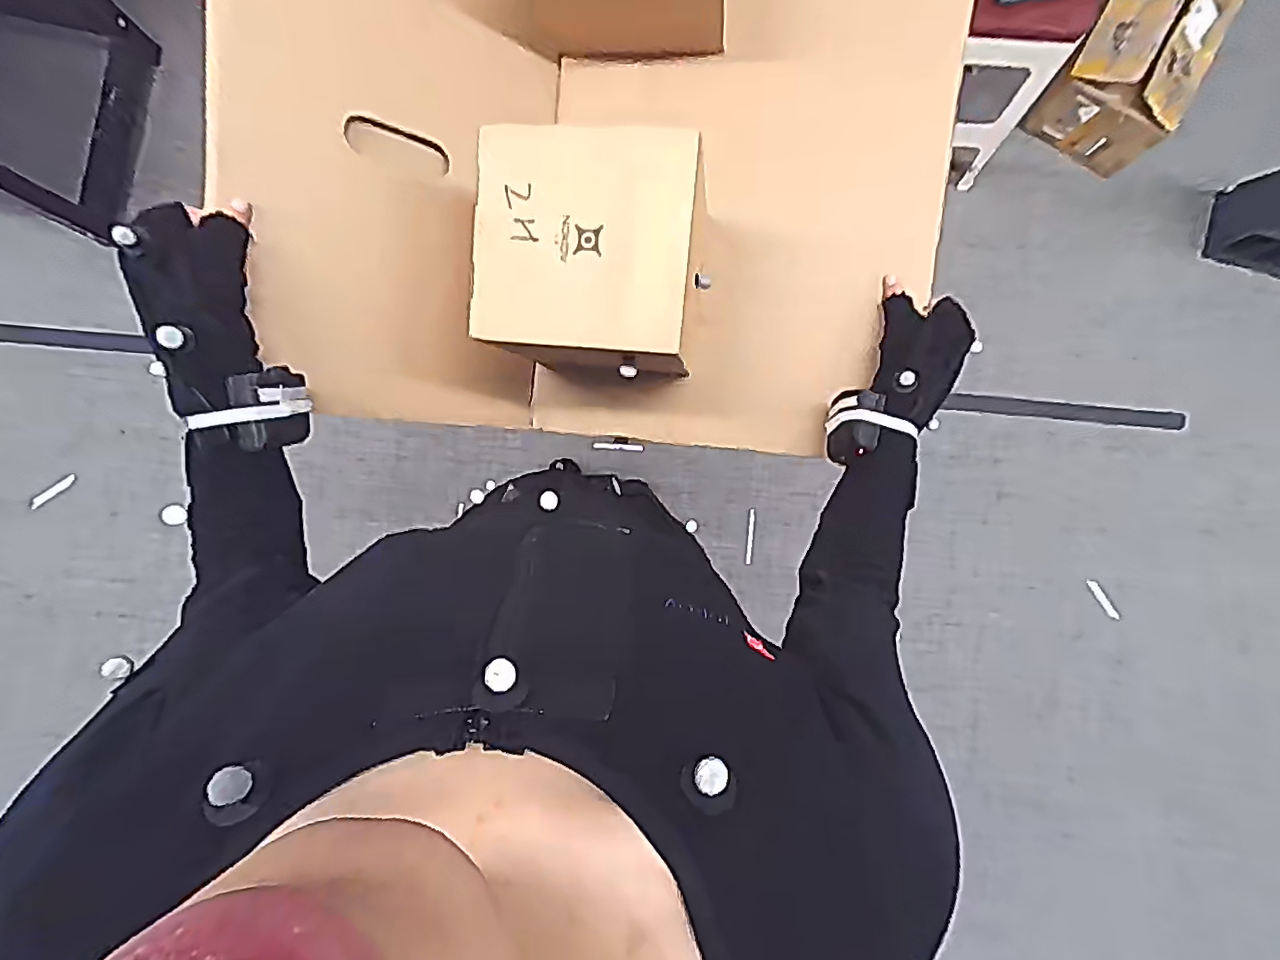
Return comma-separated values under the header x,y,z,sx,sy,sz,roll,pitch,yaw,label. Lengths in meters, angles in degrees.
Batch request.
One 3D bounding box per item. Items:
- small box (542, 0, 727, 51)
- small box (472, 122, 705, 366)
x,y,z,sx,sy,sz,roll,pitch,yaw,label
-0.008,-0.517,0.473,0.179,0.176,0.168,6,96,8,small box
-0.035,-0.203,0.508,0.179,0.176,0.168,7,96,9,small box
